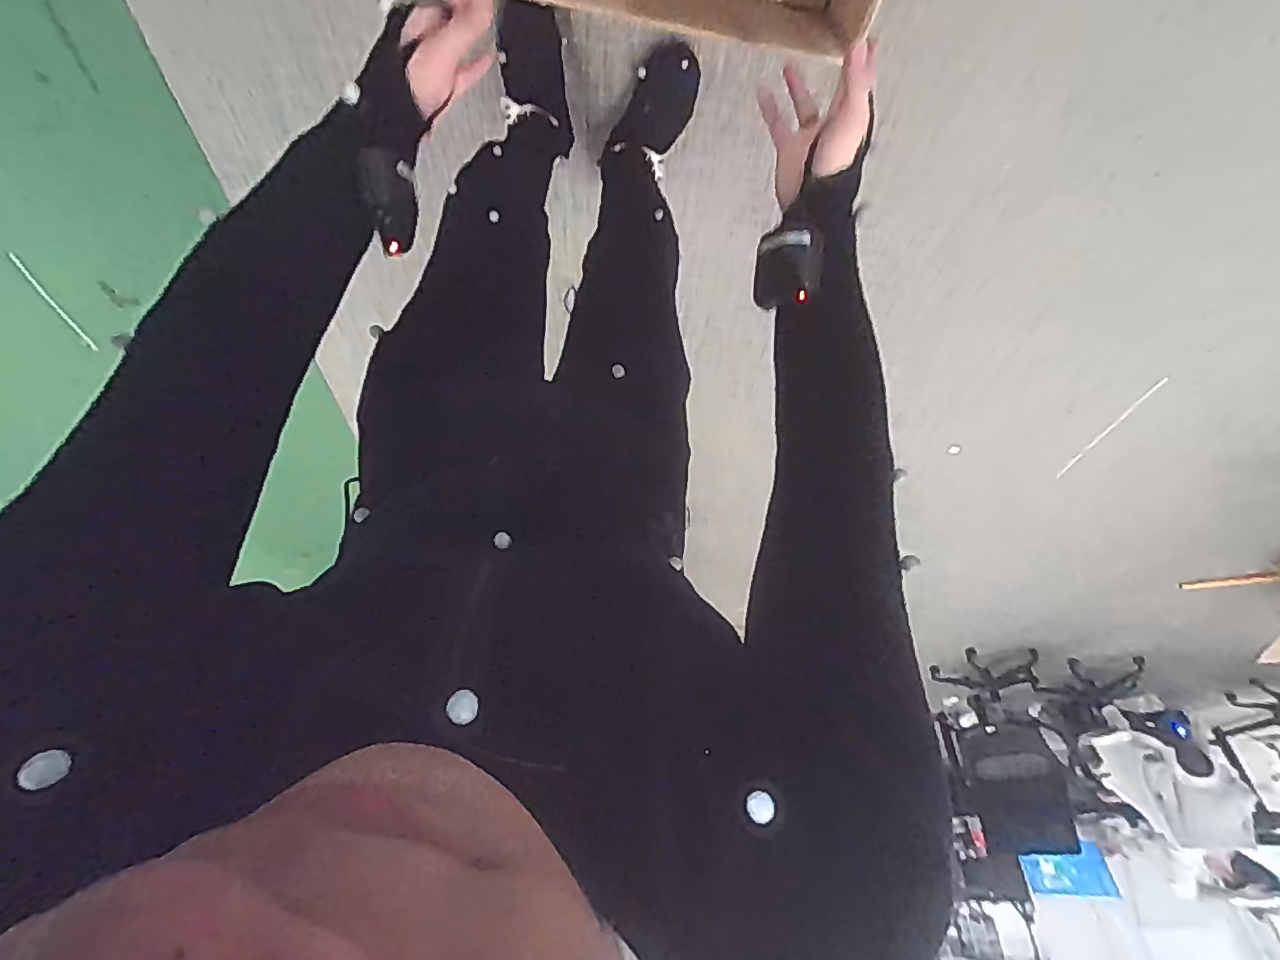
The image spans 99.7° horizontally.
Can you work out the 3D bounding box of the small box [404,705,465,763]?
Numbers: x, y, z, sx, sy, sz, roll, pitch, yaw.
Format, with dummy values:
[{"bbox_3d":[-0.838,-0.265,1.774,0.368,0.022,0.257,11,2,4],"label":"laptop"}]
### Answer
[{"bbox_3d":[-0.776,0.972,2.067,0.168,0.176,0.179,4,144,-4],"label":"small box"}]
